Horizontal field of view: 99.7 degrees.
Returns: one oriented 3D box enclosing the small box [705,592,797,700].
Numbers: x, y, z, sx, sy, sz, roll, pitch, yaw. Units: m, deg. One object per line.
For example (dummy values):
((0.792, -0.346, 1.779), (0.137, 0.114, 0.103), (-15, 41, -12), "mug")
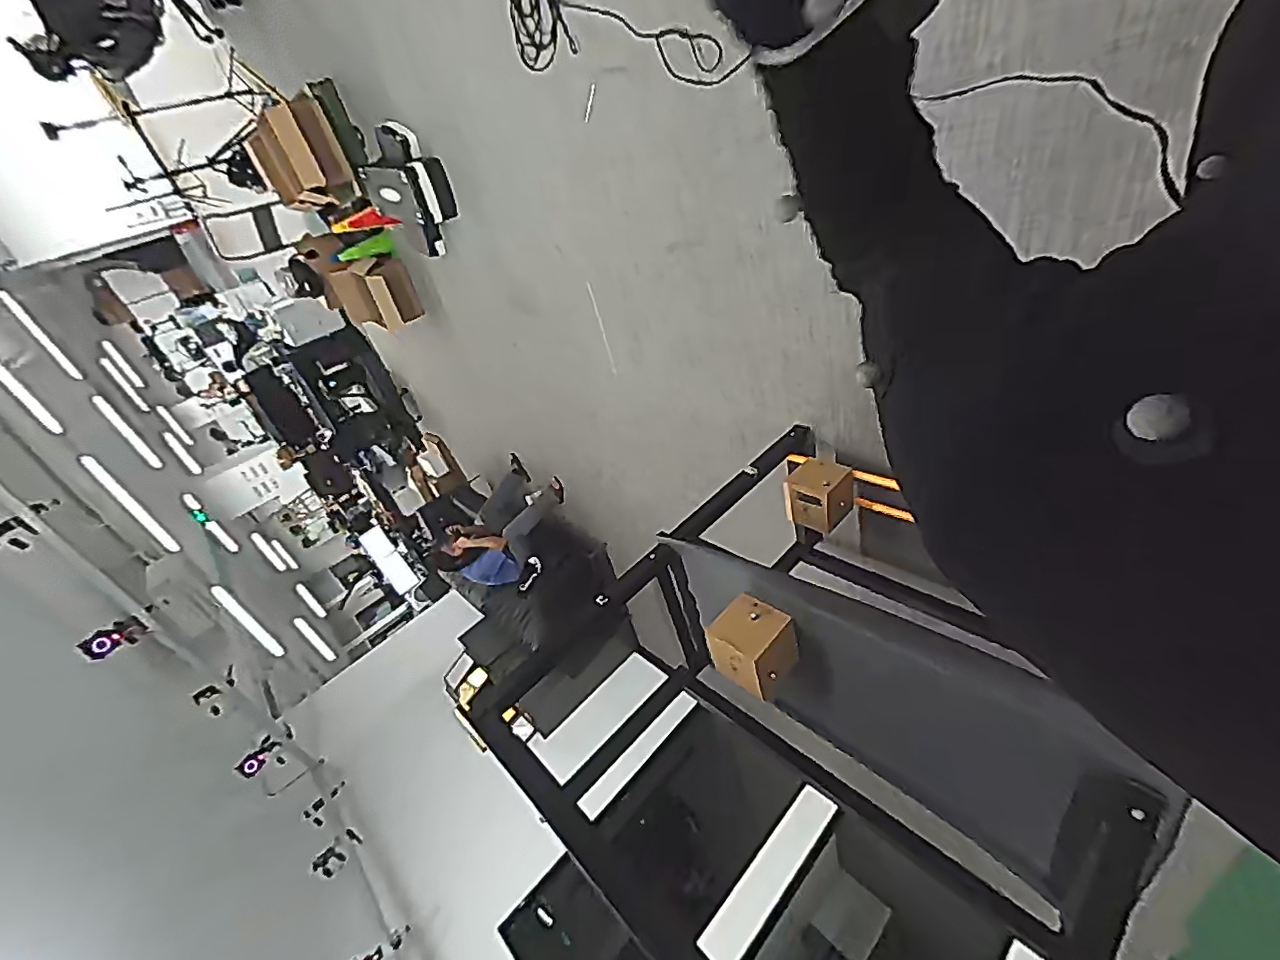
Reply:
((0.303, 0.437, 1.441), (0.168, 0.176, 0.179), (20, 139, 44), "small box")
